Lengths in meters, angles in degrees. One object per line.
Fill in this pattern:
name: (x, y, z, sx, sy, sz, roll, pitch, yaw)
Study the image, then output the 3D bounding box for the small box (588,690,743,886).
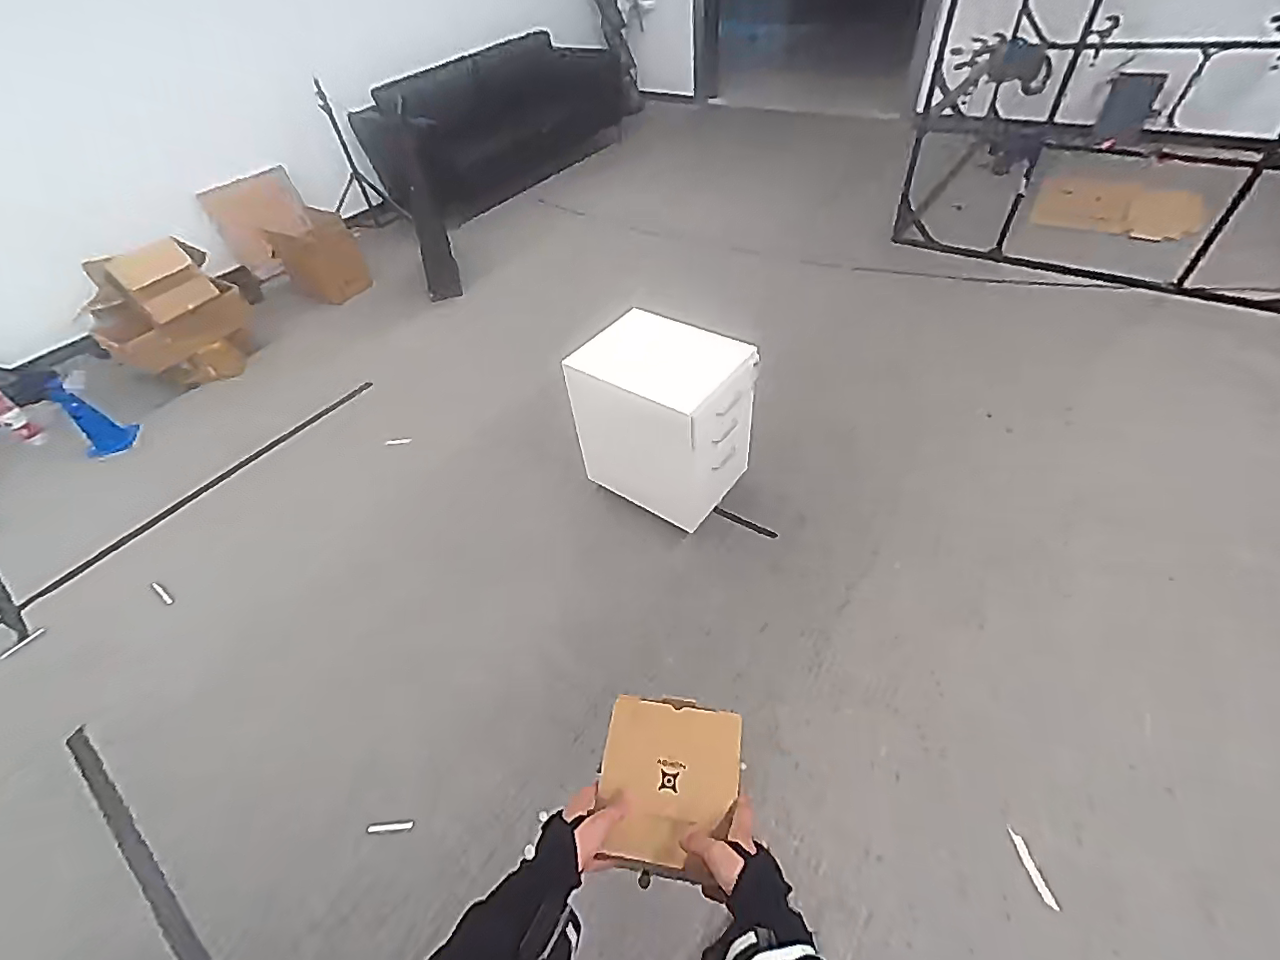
small box: (0.036, 0.402, 0.705, 0.168, 0.176, 0.179, 7, 51, 8)
